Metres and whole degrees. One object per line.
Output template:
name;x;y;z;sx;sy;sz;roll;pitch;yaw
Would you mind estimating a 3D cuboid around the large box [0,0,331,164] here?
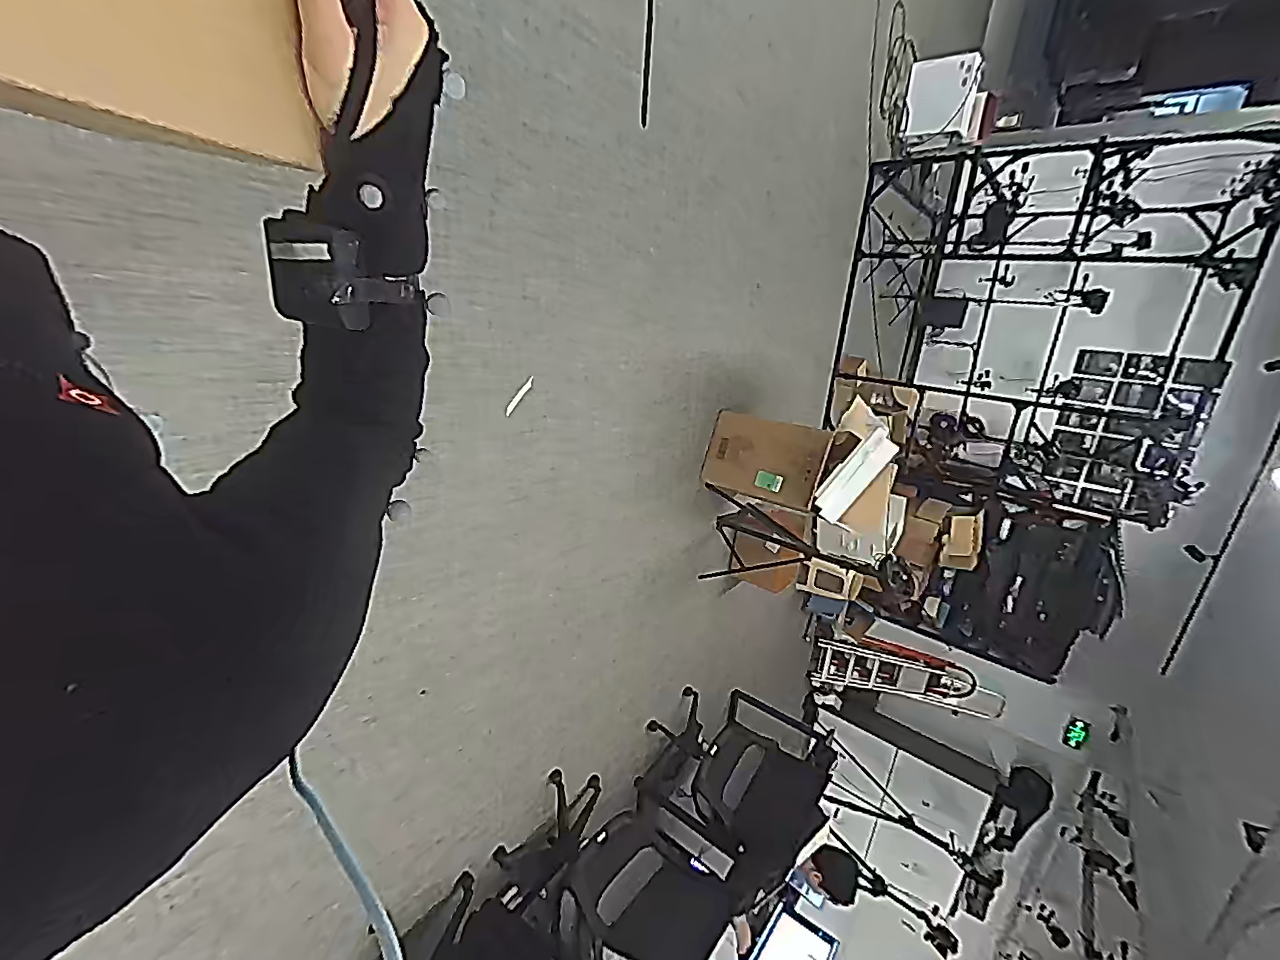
large box;-0.385;-0.342;0.180;0.408;0.320;0.320;-18;127;-55
